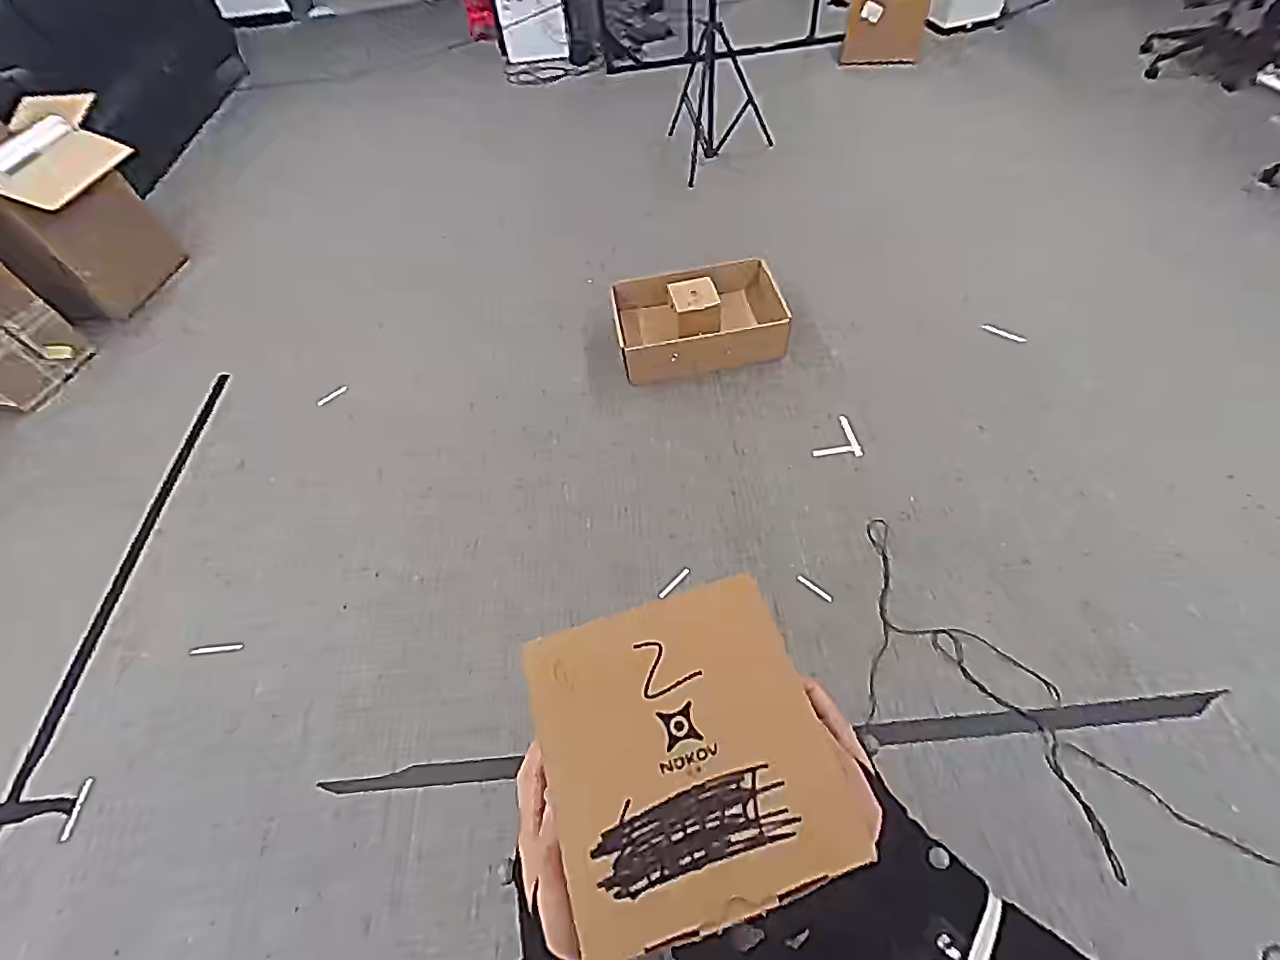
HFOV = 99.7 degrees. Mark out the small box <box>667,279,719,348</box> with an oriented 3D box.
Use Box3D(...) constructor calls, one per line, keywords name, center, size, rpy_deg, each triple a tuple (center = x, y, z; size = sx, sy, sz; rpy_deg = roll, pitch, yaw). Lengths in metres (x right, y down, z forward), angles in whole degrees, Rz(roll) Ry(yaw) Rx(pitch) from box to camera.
Box3D(name="small box", center=(0.199, -0.633, 2.066), size=(0.168, 0.176, 0.179), rpy_deg=(-12, 55, -2))
